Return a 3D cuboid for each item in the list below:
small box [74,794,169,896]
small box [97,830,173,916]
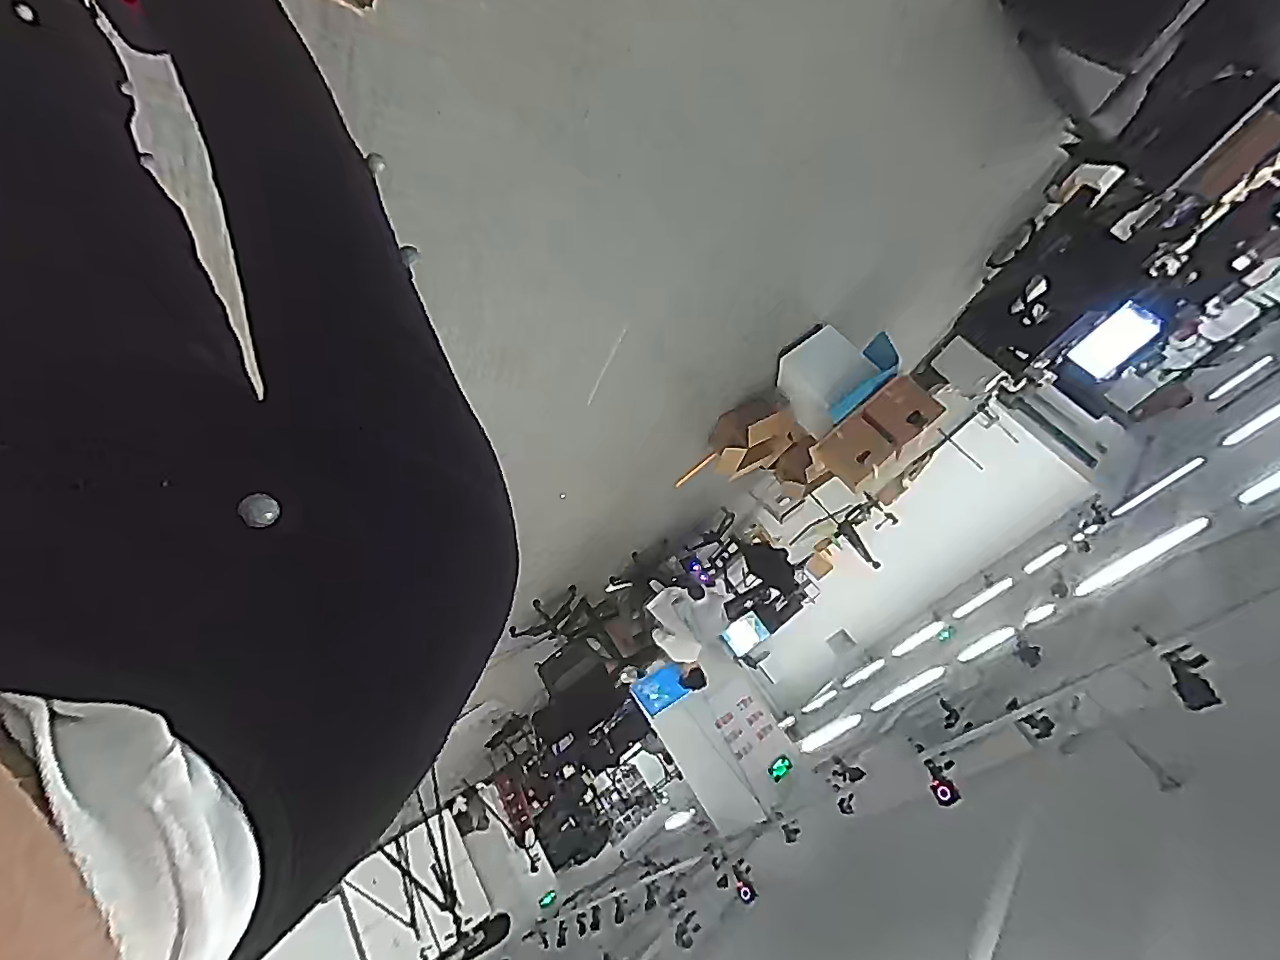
[{"bbox_3d":[-1.462,1.027,1.530,0.168,0.176,0.179,-14,150,-43],"label":"small box"},{"bbox_3d":[-1.616,1.238,1.727,0.168,0.176,0.179,-12,145,-44],"label":"small box"}]
